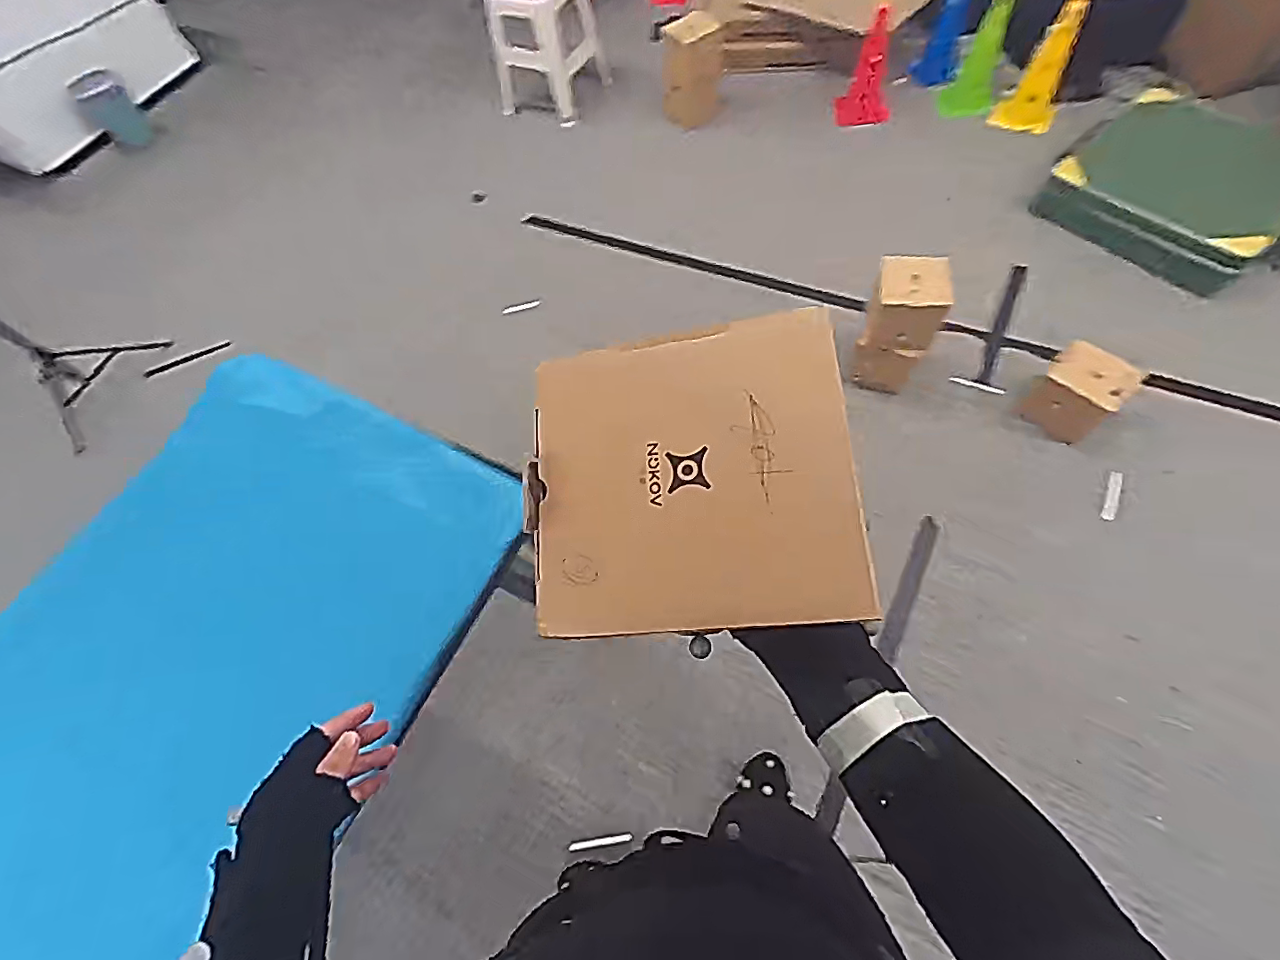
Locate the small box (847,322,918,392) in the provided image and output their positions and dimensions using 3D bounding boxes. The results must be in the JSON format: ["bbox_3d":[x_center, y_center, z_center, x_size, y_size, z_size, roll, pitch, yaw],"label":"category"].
[{"bbox_3d":[0.731,-0.391,1.603,0.168,0.176,0.179,21,67,17],"label":"small box"}]

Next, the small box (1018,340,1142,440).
[{"bbox_3d":[1.181,-0.239,1.468,0.179,0.176,0.168,40,74,22],"label":"small box"}]

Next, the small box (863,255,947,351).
[{"bbox_3d":[0.712,-0.476,1.463,0.168,0.176,0.179,9,67,13],"label":"small box"}]

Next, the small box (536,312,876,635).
[{"bbox_3d":[0.049,0.017,0.363,0.179,0.176,0.168,-7,74,16],"label":"small box"}]
